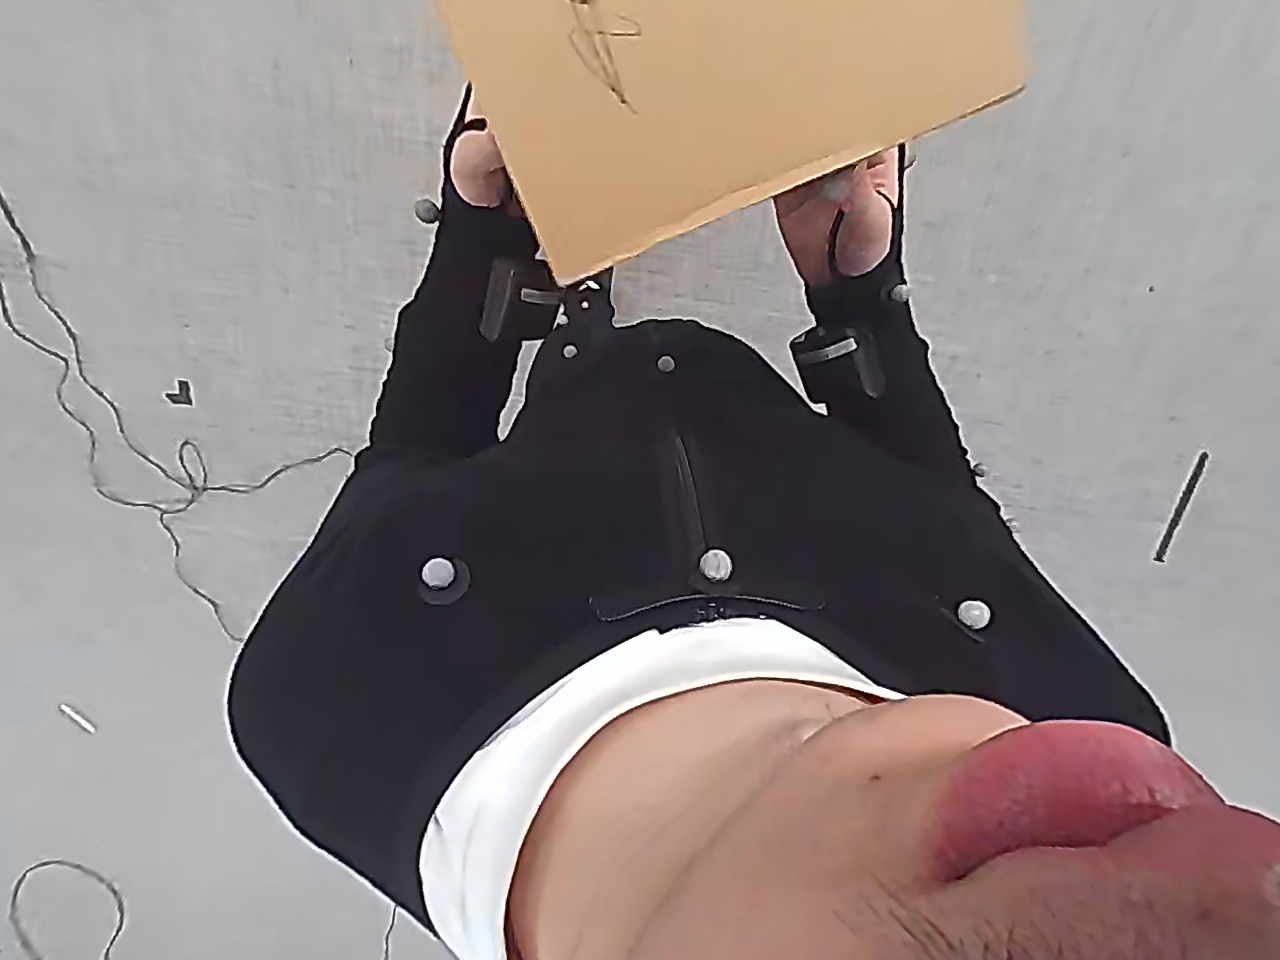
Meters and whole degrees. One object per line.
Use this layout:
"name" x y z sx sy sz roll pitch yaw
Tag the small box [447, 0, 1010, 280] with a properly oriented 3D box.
"small box" 0.020 -0.210 0.245 0.179 0.176 0.168 -21 112 10
